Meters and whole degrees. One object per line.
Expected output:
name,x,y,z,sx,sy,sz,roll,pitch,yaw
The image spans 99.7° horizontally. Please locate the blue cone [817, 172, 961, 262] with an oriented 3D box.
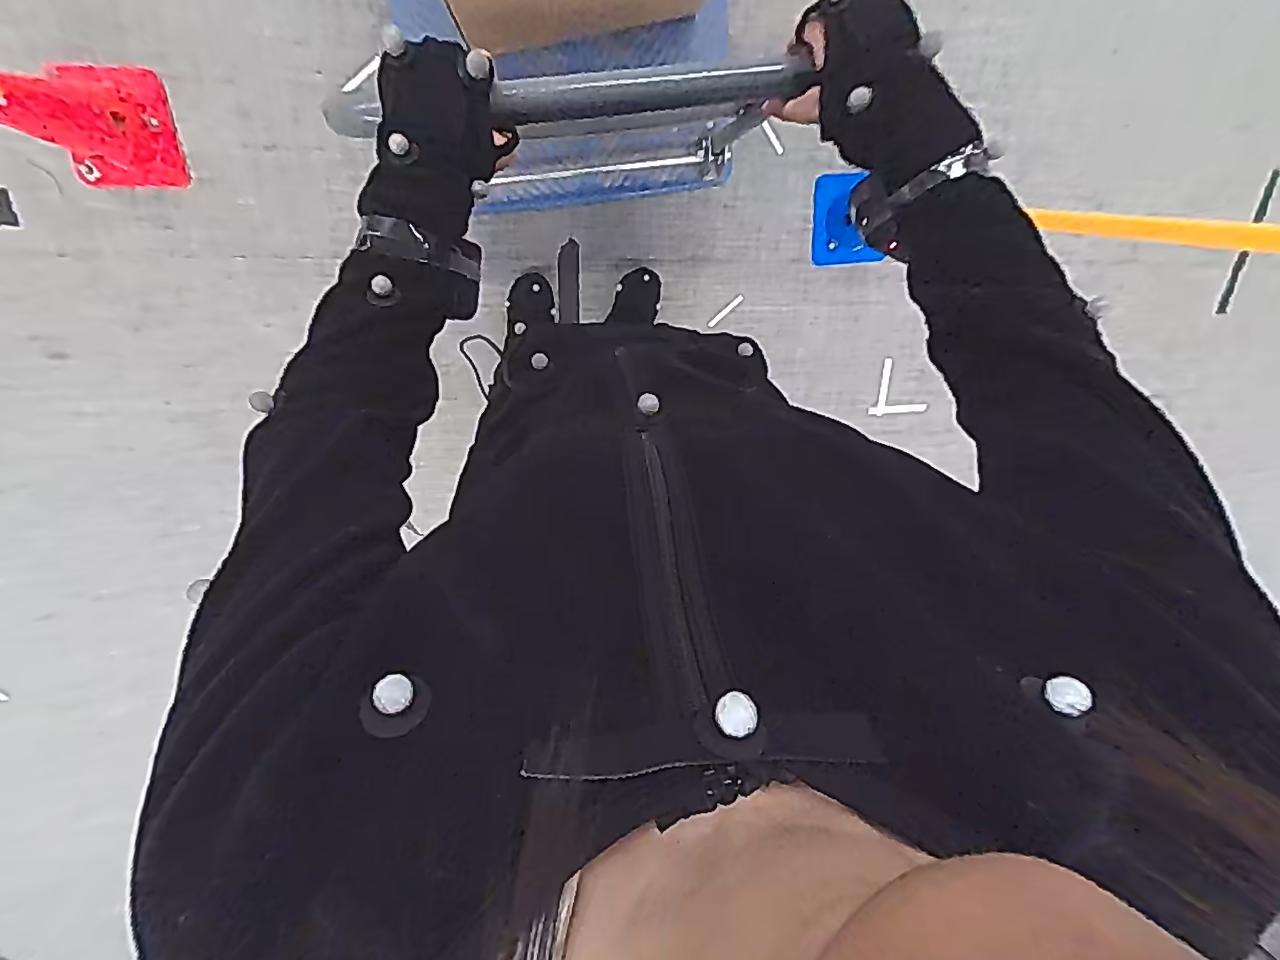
blue cone,0.540,-0.569,1.151,0.193,0.380,0.192,-6,113,-7
